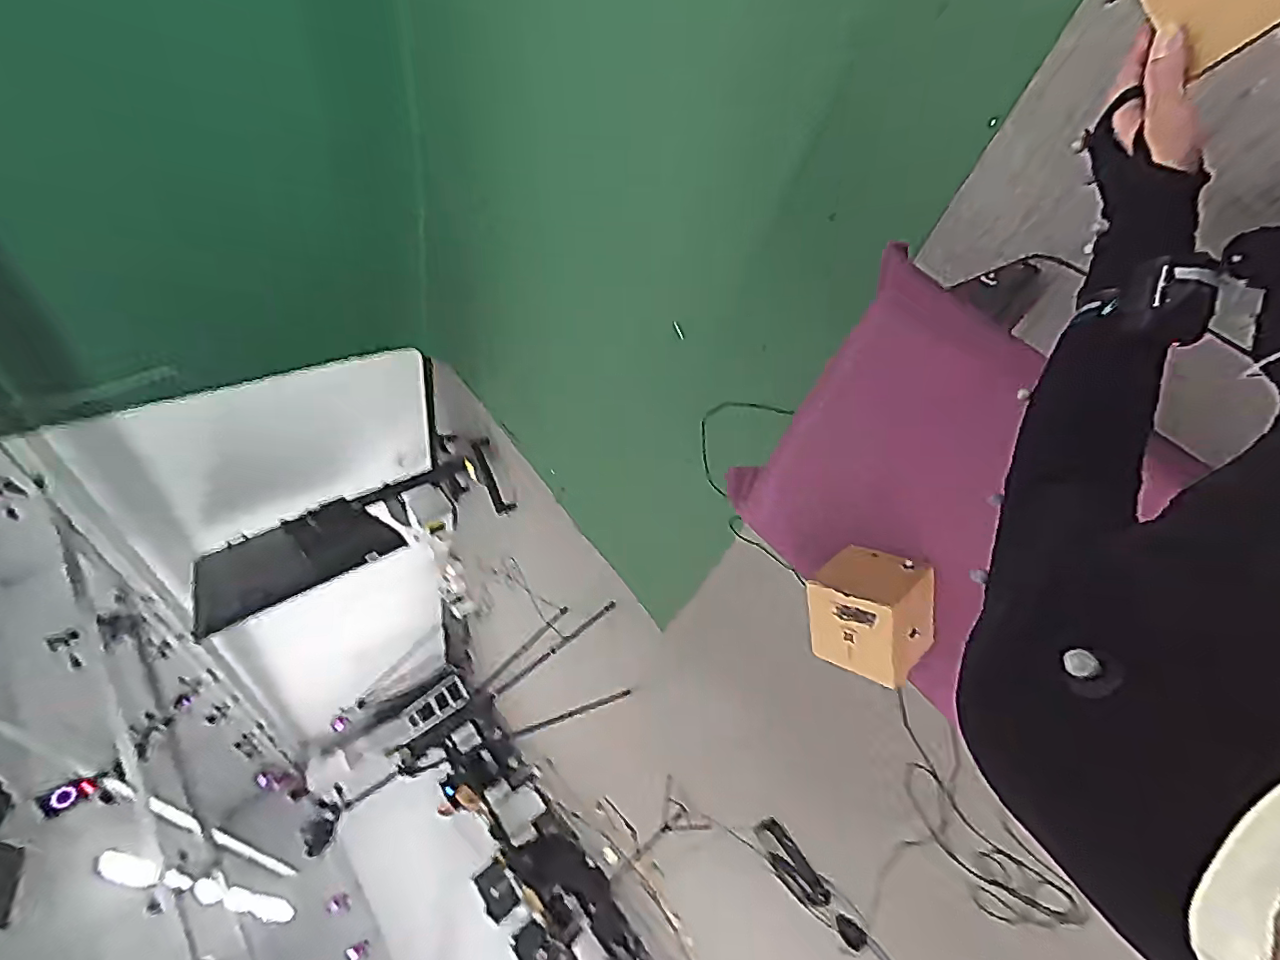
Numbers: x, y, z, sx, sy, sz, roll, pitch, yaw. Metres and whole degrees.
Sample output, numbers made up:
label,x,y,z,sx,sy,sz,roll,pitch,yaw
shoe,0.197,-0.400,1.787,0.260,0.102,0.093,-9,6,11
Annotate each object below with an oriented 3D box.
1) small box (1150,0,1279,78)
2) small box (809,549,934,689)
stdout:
label,x,y,z,sx,sy,sz,roll,pitch,yaw
small box,0.463,-0.430,0.380,0.168,0.176,0.179,-26,96,52
small box,0.446,0.254,1.038,0.168,0.176,0.179,13,121,48
